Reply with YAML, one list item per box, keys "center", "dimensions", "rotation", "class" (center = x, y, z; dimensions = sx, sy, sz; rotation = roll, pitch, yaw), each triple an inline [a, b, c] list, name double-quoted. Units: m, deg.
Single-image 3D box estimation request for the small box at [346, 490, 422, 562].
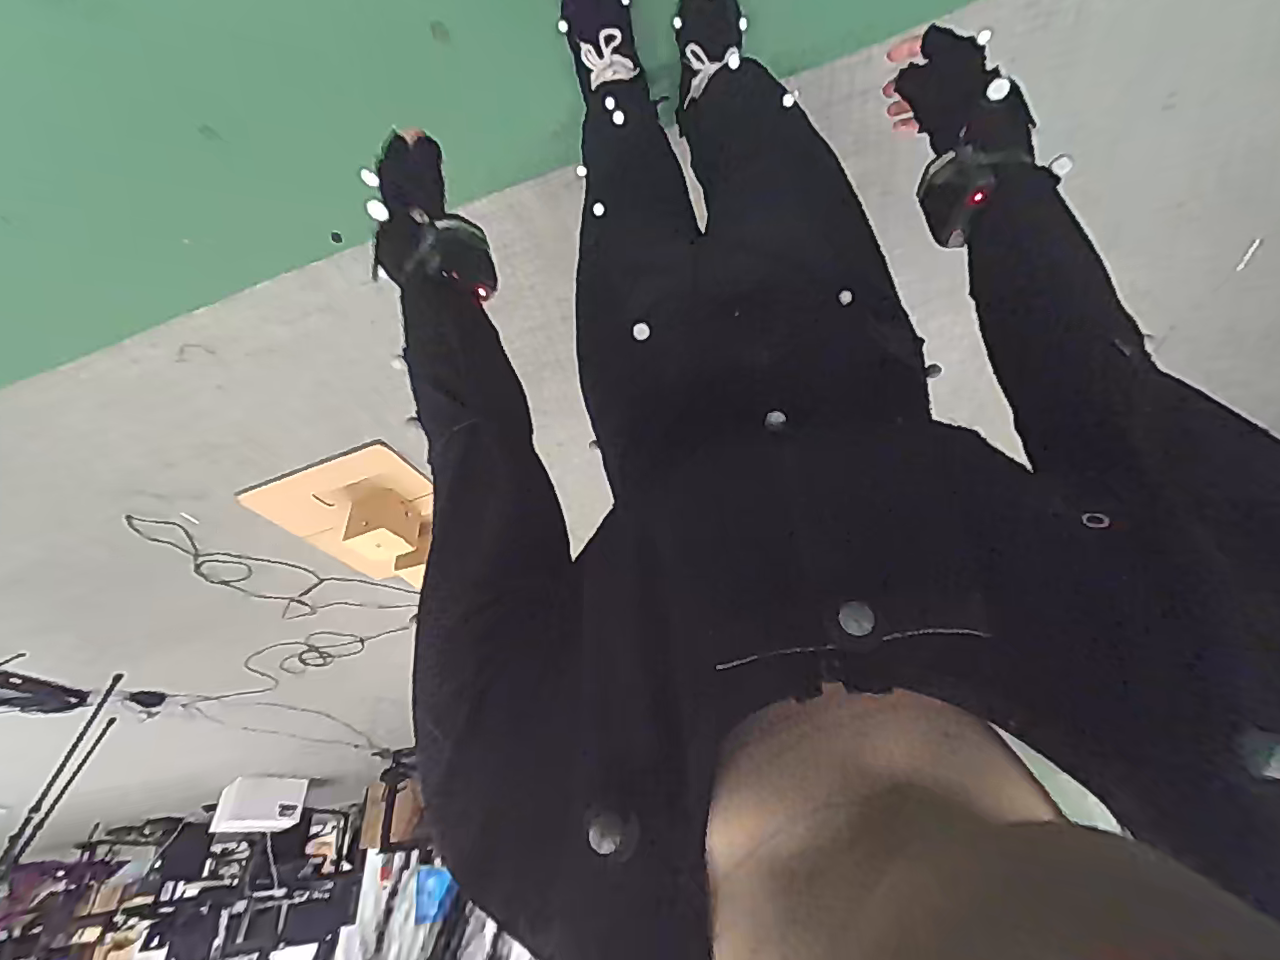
- center: [-0.903, 0.163, 1.925]
  dimensions: [0.179, 0.176, 0.168]
  rotation: [-20, 140, 12]
  class: "small box"
